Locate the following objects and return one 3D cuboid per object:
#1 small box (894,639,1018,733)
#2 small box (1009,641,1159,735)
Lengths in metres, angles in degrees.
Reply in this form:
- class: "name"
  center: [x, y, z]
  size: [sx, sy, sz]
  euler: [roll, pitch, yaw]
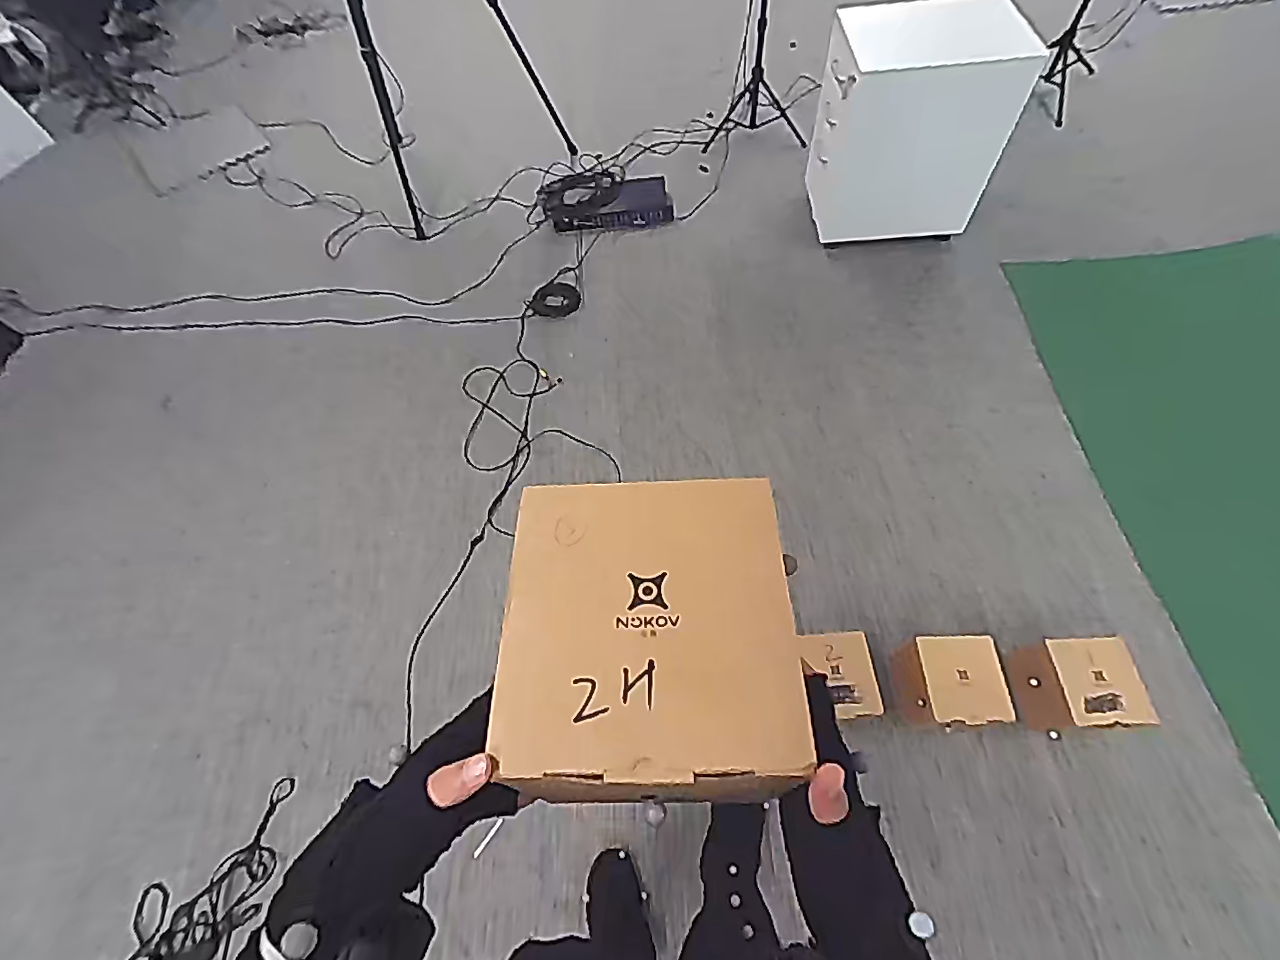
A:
- class: "small box"
  center: [0.695, 0.465, 1.215]
  size: [0.168, 0.176, 0.179]
  euler: [-2, 61, 4]
- class: "small box"
  center: [0.963, 0.463, 1.193]
  size: [0.168, 0.176, 0.179]
  euler: [-3, 60, 4]
